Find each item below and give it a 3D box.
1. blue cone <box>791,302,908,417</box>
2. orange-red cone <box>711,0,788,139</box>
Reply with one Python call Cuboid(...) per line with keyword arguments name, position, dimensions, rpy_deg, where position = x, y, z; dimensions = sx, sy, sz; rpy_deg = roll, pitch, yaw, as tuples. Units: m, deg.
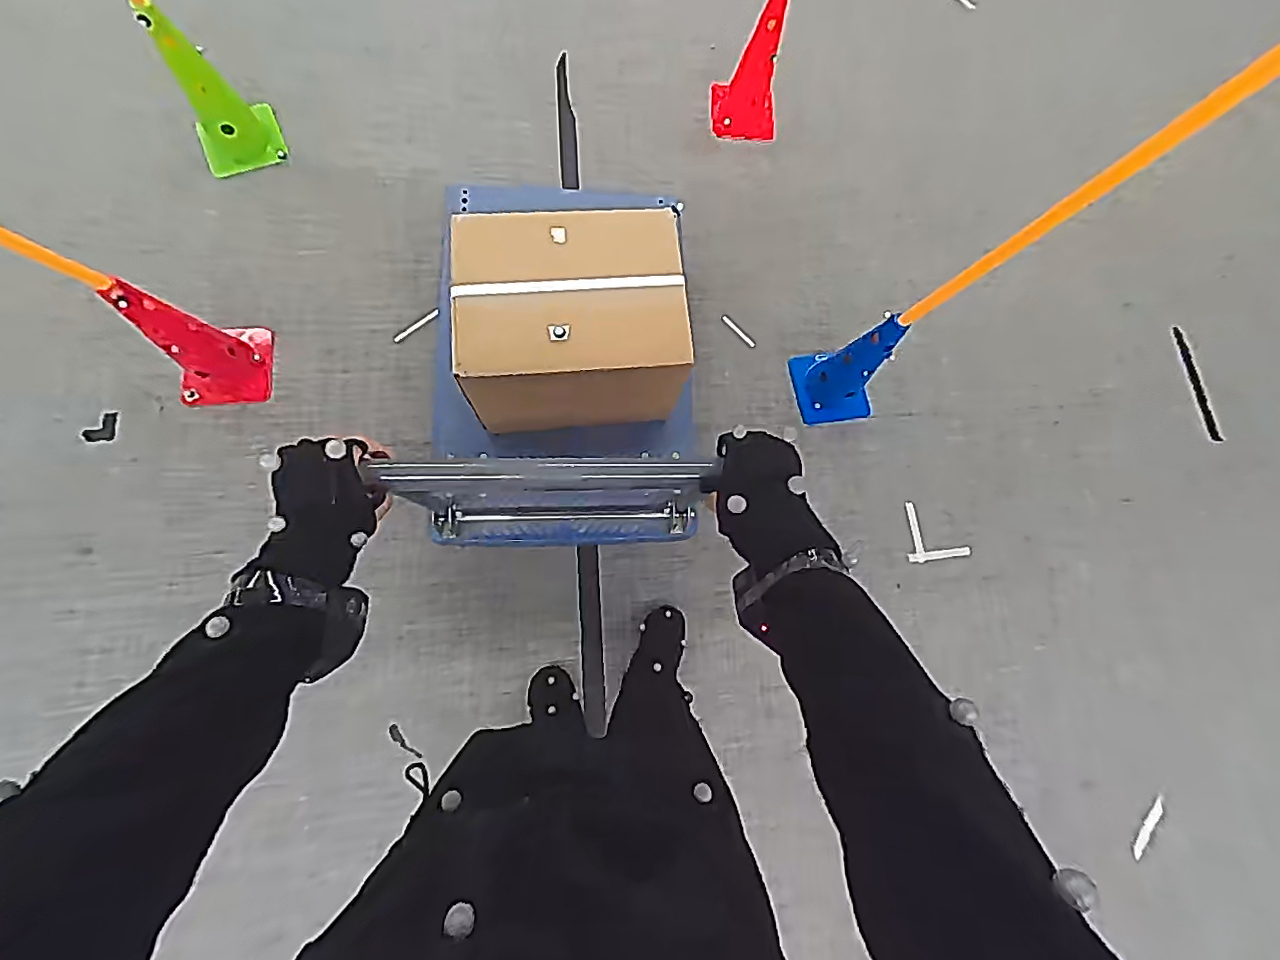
Cuboid(name="blue cone", position=(0.538, -0.307, 1.327), dimensions=(0.193, 0.380, 0.192), rpy_deg=(-7, 76, -8))
Cuboid(name="orange-red cone", position=(0.339, -1.179, 1.498), dimensions=(0.199, 0.360, 0.198), rpy_deg=(3, 77, -6))
